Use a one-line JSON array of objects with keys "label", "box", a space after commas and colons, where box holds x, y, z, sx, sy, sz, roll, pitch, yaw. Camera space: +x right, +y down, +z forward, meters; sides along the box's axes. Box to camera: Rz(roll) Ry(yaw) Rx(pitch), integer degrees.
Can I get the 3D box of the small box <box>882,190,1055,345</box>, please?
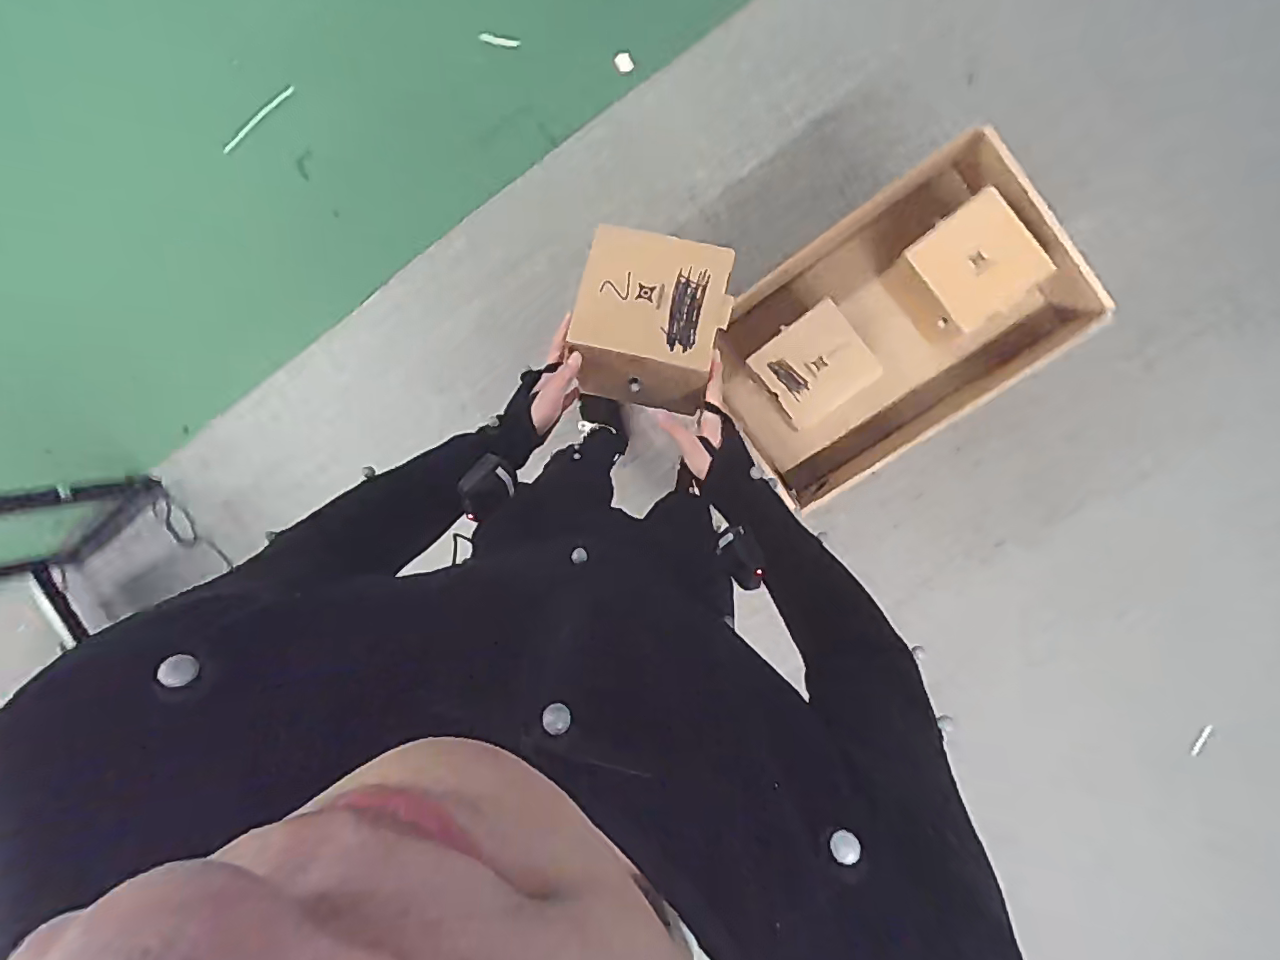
[{"label": "small box", "box": [0.565, -0.362, 0.961, 0.168, 0.176, 0.179, -38, 91, 11]}]
